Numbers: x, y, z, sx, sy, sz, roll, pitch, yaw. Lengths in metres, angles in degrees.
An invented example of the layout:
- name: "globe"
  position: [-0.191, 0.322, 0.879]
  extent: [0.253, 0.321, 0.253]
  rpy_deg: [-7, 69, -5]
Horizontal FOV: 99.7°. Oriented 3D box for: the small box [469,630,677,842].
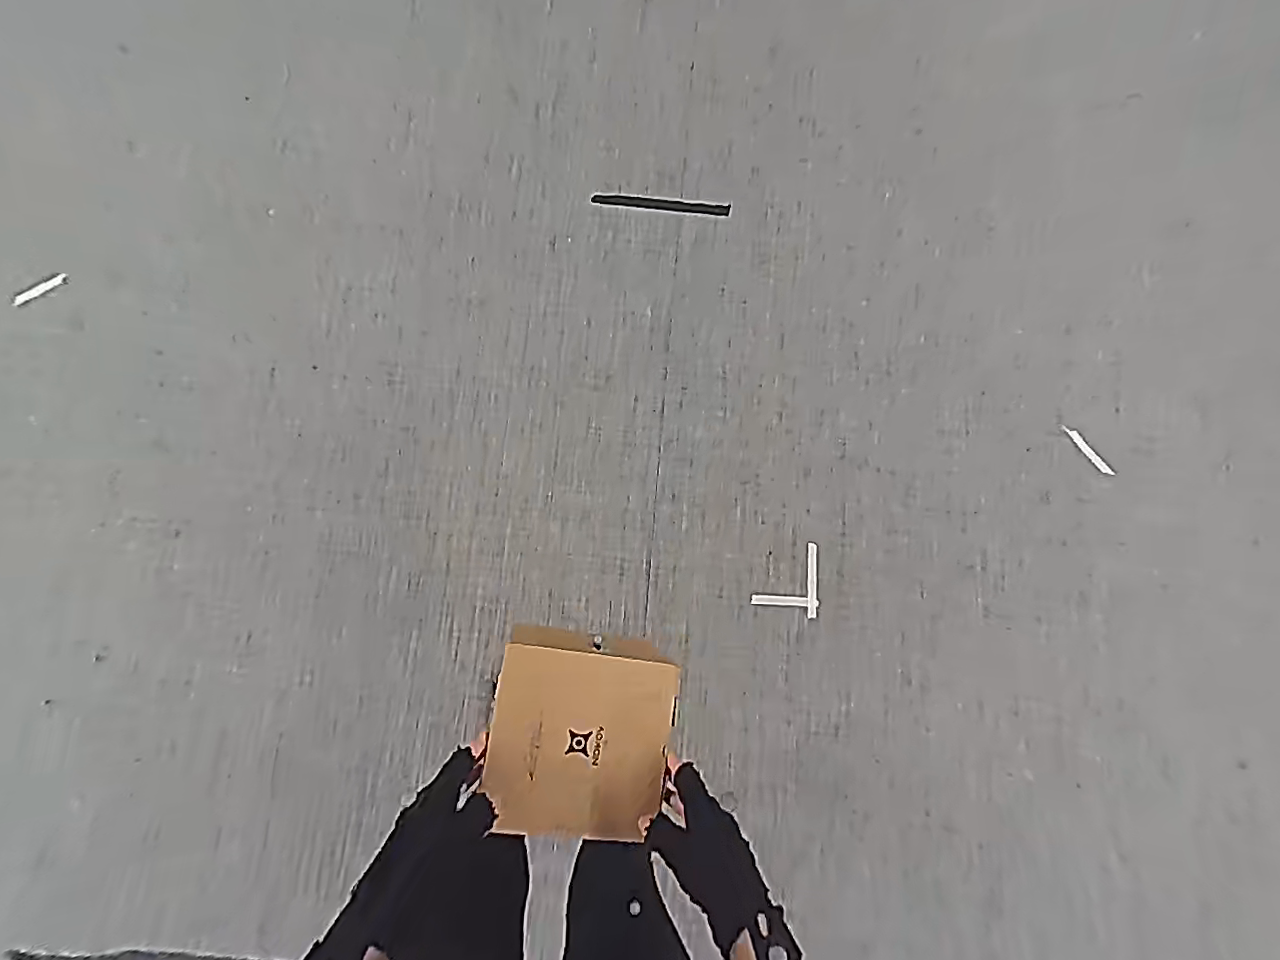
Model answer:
- name: "small box"
  position: [-0.075, 0.264, 0.593]
  extent: [0.179, 0.176, 0.168]
  rpy_deg: [11, 78, -10]
